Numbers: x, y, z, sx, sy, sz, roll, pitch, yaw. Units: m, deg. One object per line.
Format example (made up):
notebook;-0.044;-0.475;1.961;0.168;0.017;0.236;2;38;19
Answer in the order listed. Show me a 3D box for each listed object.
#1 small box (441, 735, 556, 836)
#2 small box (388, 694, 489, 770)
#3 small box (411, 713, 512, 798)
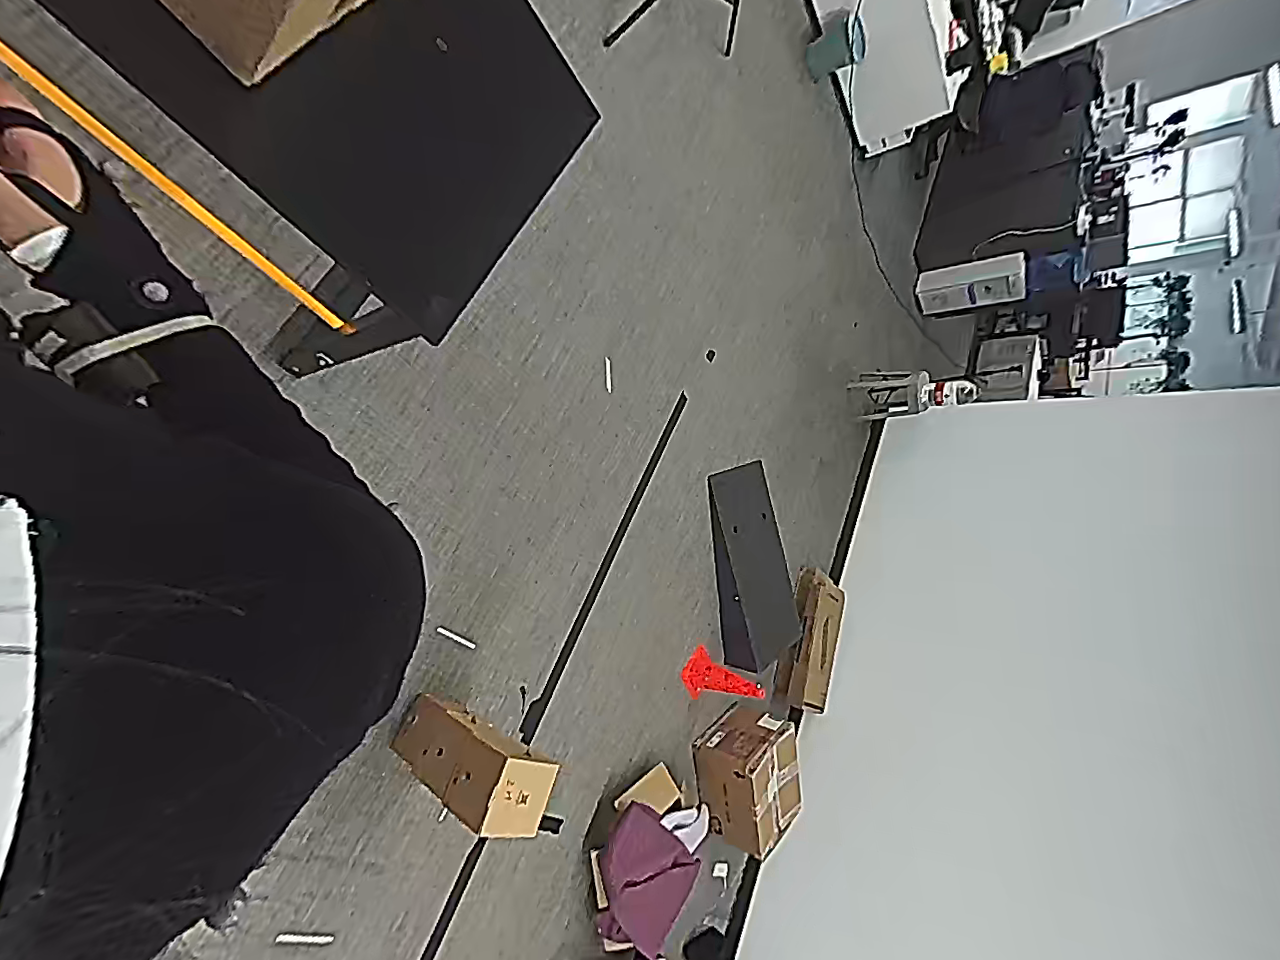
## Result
small box;-0.344;0.738;1.315;0.179;0.176;0.168;38;64;-42
small box;-0.577;0.735;1.549;0.179;0.176;0.168;42;61;-39
small box;-0.467;0.735;1.426;0.179;0.176;0.168;43;61;-39
